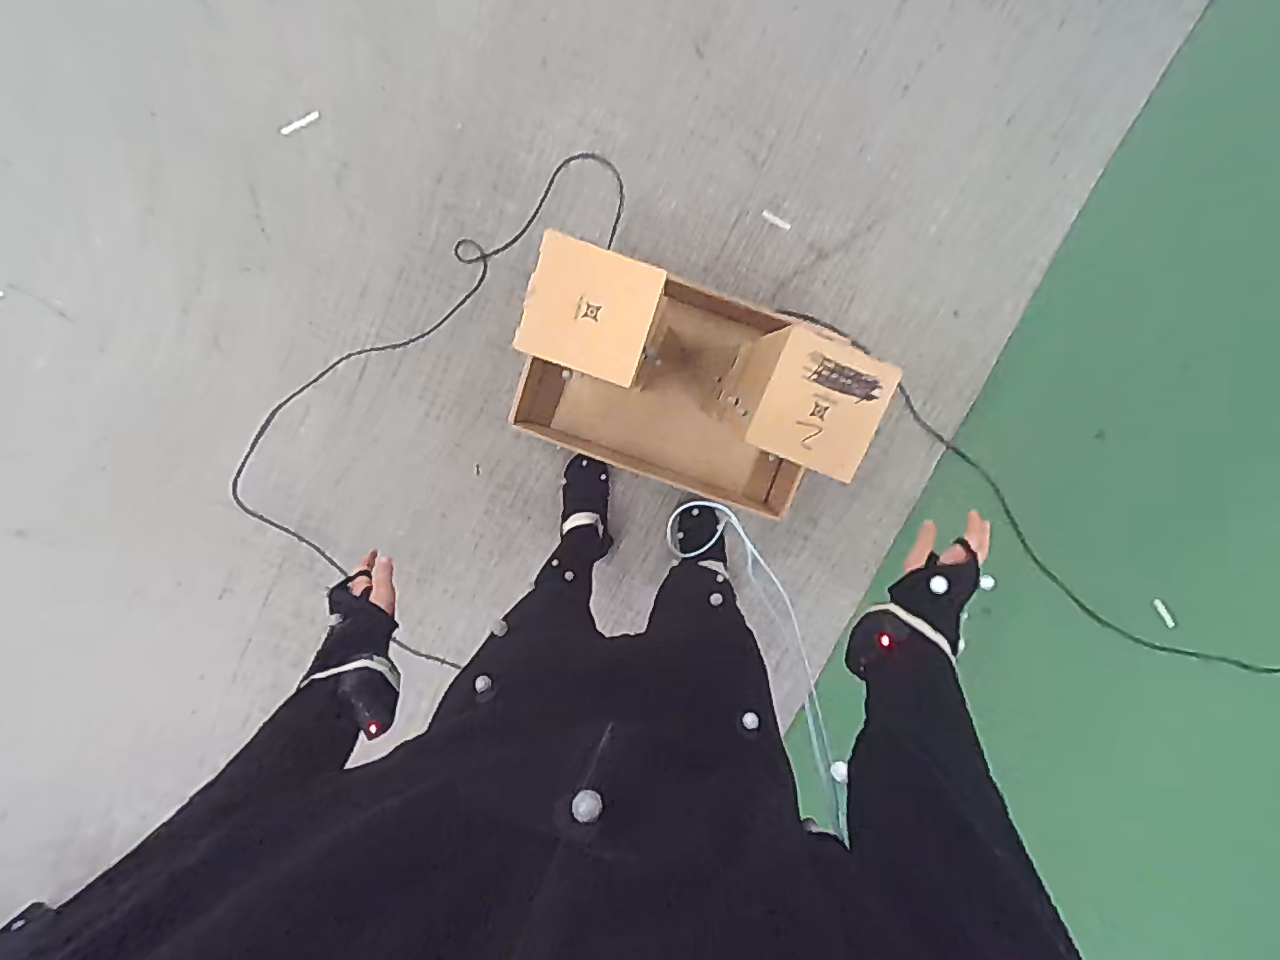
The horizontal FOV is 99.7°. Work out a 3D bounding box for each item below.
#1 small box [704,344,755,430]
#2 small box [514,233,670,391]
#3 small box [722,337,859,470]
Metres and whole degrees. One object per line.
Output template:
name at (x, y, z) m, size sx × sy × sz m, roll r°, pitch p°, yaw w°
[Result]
small box at (0.250, -0.169, 1.152) m, size 0.179 × 0.176 × 0.168 m, roll 24°, pitch 98°, yaw -2°
small box at (-0.065, -0.243, 0.816) m, size 0.179 × 0.176 × 0.168 m, roll 19°, pitch 100°, yaw -2°
small box at (0.261, -0.138, 0.991) m, size 0.168 × 0.176 × 0.179 m, roll 24°, pitch 97°, yaw -4°
